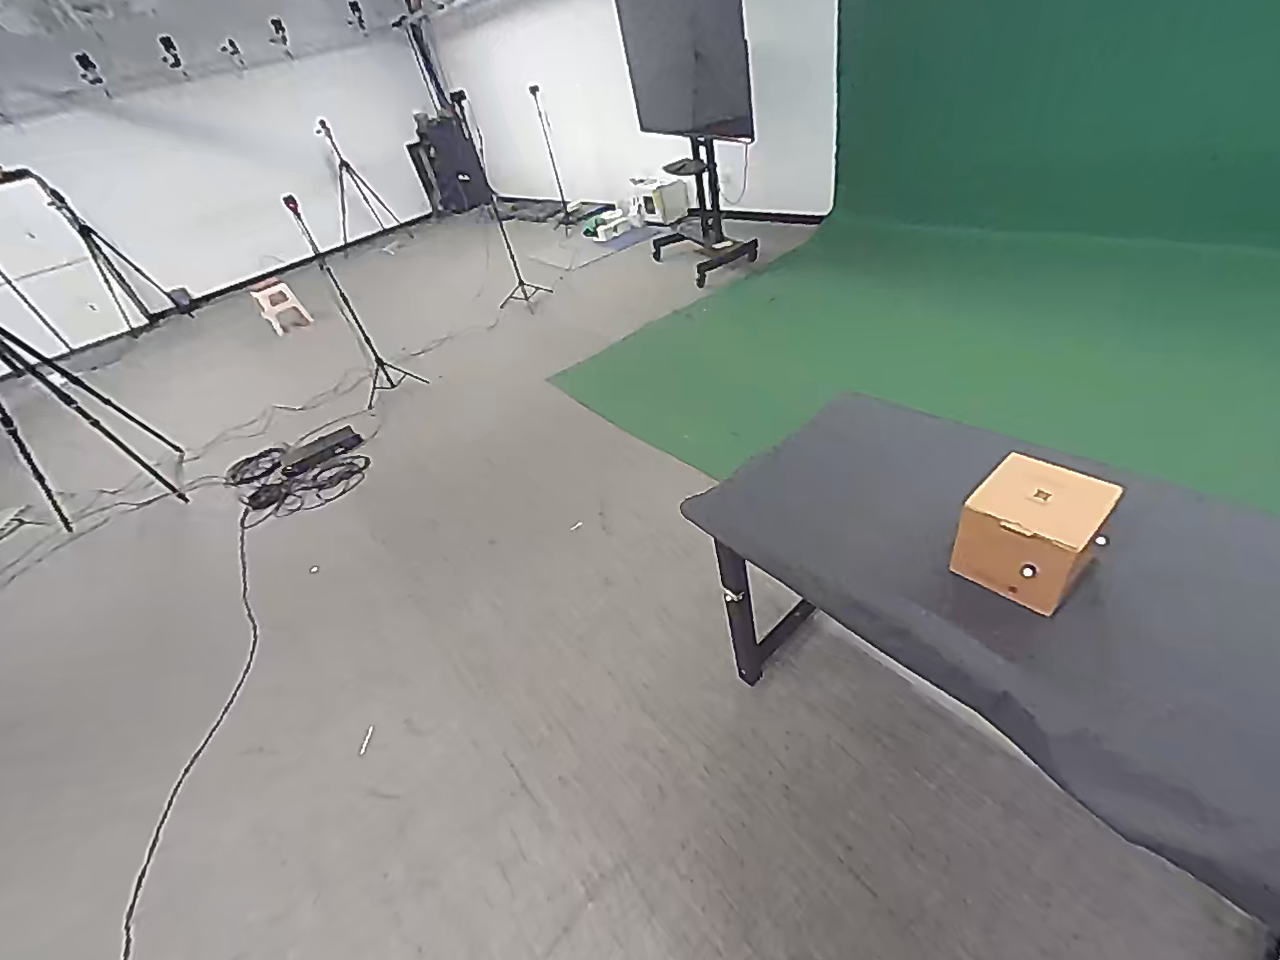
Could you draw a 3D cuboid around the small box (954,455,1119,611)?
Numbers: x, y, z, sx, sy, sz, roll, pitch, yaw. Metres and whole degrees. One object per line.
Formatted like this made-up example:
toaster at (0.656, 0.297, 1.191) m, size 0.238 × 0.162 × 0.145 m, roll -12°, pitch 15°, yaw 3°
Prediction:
small box at (0.673, 0.091, 0.937) m, size 0.179 × 0.176 × 0.168 m, roll -35°, pitch 44°, yaw -25°
